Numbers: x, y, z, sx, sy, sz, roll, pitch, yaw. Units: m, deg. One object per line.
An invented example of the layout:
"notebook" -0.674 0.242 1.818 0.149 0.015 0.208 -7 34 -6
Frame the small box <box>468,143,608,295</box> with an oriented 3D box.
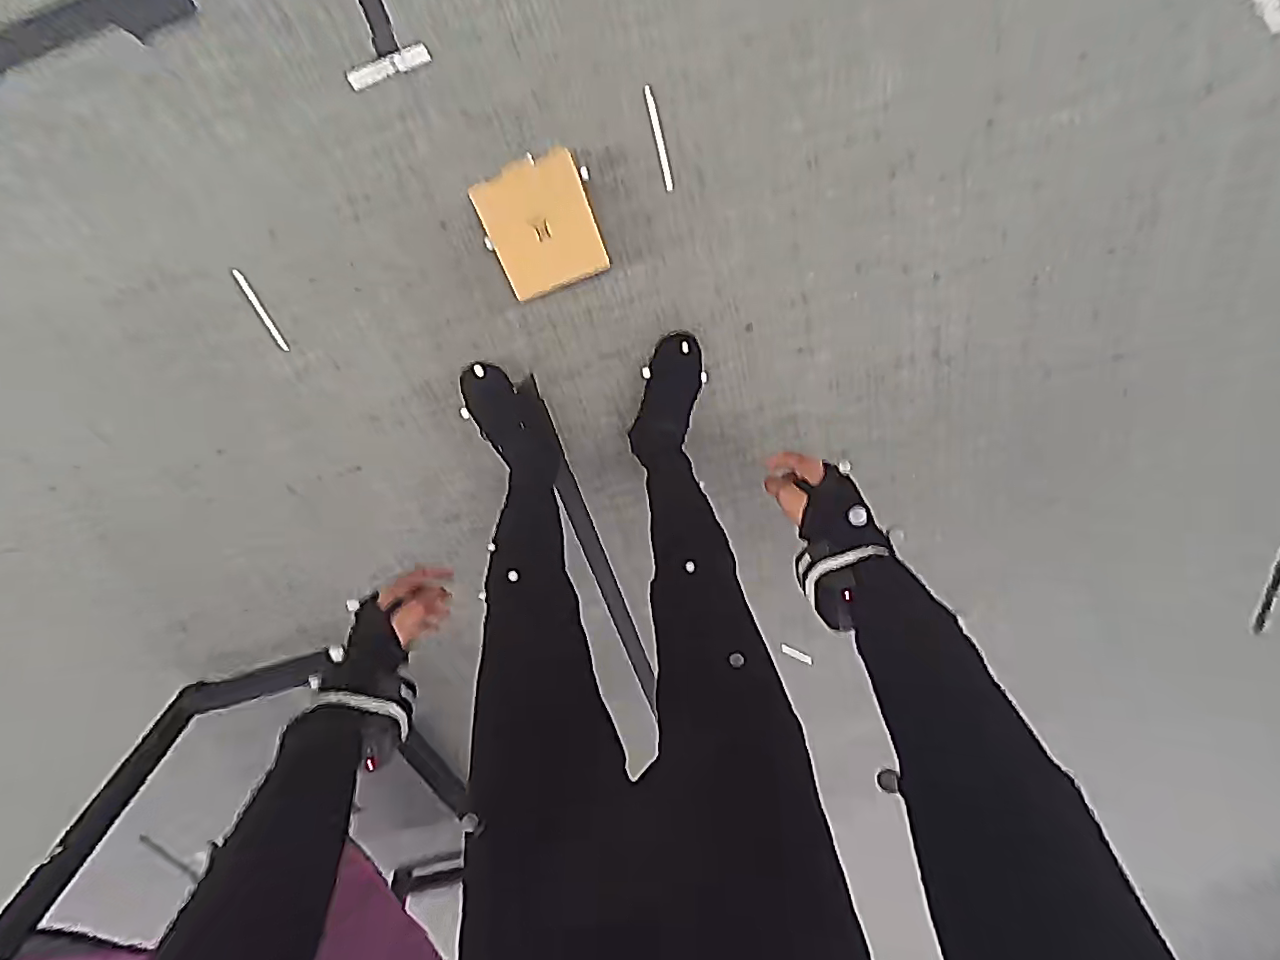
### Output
"small box" -0.156 -0.436 0.900 0.168 0.176 0.179 -19 119 7
